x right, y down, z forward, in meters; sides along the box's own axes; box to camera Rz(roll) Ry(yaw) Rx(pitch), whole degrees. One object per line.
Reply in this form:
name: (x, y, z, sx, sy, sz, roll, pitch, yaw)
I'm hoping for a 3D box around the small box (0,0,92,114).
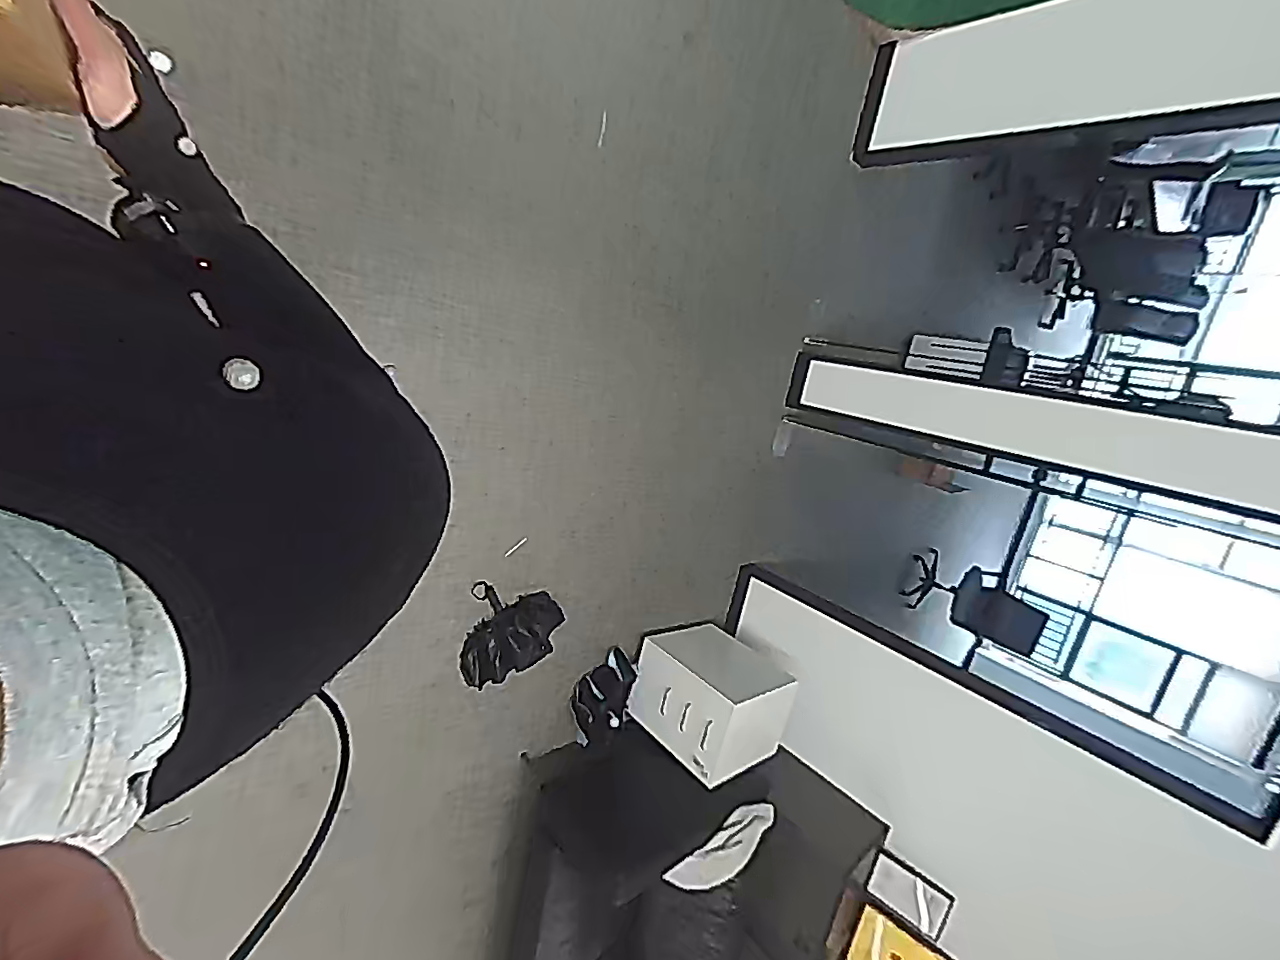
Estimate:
small box: (-0.453, -0.325, 0.290, 0.179, 0.176, 0.168, -13, 110, -33)
